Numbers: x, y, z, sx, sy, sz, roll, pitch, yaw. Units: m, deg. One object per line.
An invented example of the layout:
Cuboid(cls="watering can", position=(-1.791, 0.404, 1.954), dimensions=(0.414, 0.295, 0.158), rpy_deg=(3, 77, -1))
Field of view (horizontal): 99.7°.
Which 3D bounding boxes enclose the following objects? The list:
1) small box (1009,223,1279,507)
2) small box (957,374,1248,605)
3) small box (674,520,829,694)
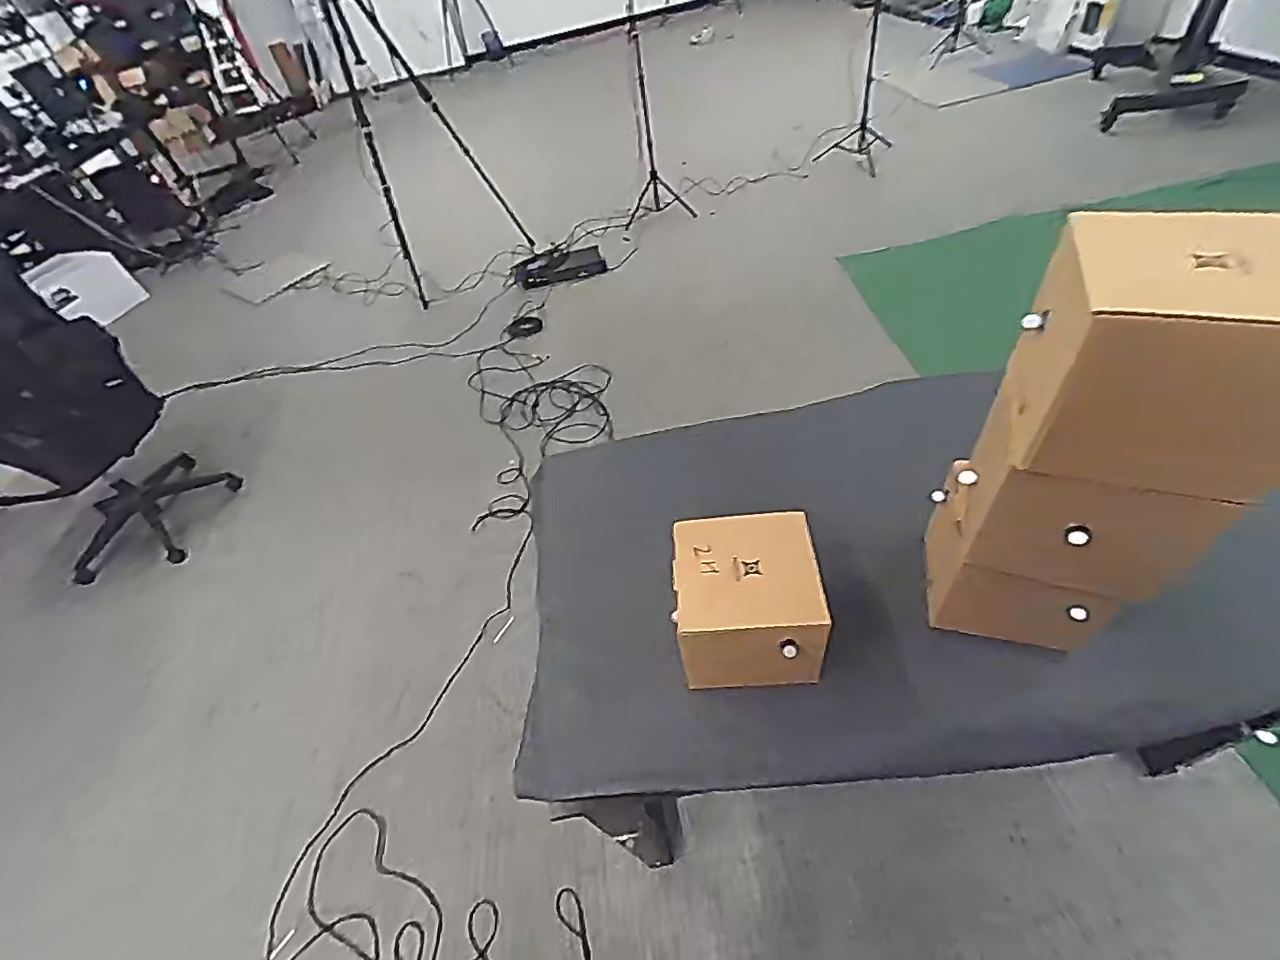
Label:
Cuboid(cls="small box", position=(0.435, -0.098, 0.458), dimensions=(0.179, 0.176, 0.168), rpy_deg=(11, 51, 21))
Cuboid(cls="small box", position=(0.464, 0.010, 0.576), dimensions=(0.179, 0.176, 0.168), rpy_deg=(12, 52, 23))
Cuboid(cls="small box", position=(0.141, 0.174, 0.725), dimensions=(0.179, 0.176, 0.168), rpy_deg=(-6, 47, 8))
